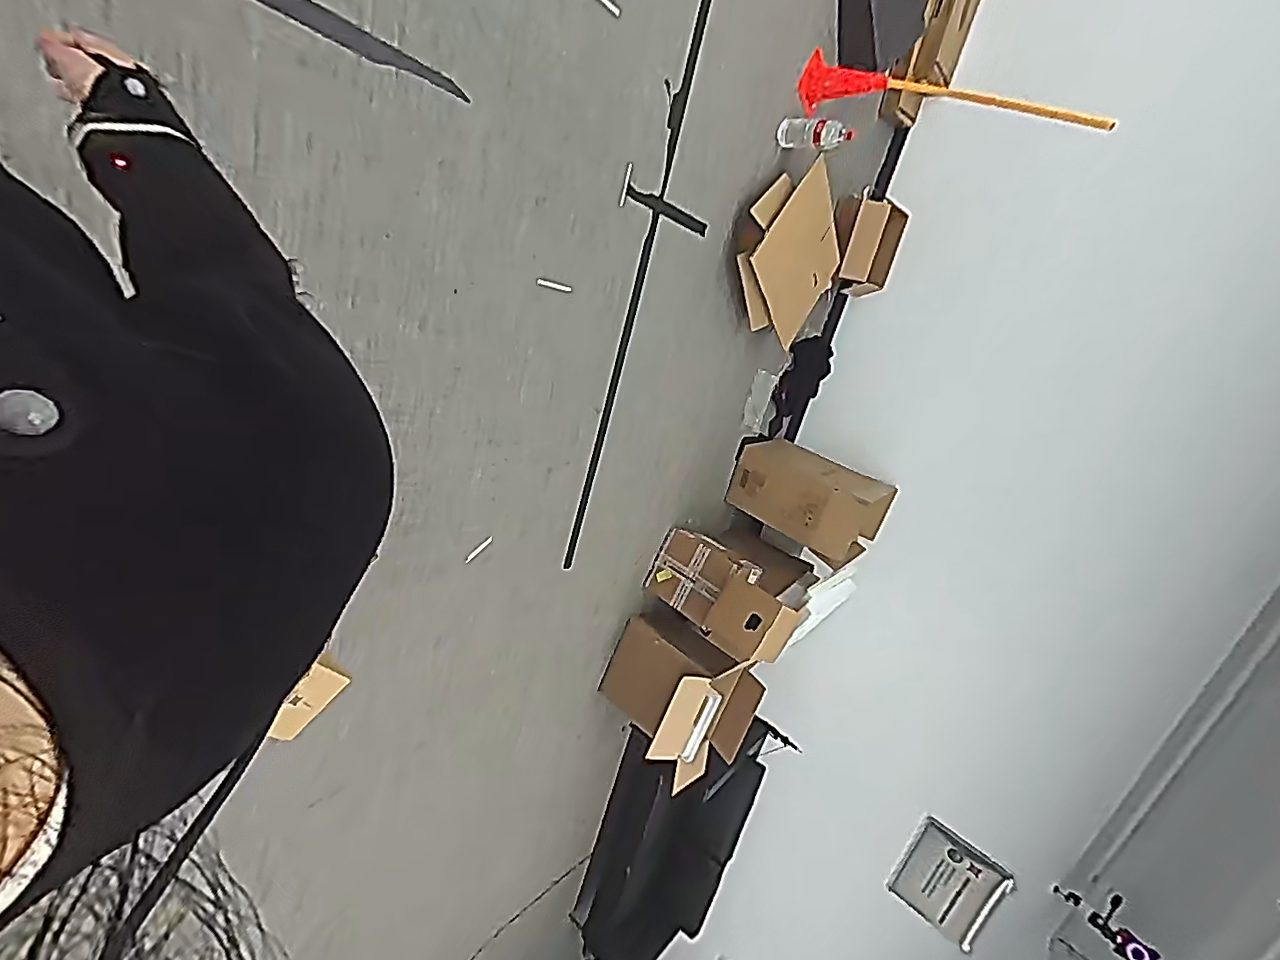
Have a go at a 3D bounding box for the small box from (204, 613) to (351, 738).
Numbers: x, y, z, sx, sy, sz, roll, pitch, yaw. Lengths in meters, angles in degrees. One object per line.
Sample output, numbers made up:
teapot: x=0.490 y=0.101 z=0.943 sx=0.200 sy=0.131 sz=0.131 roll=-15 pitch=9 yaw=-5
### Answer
small box: x=-0.778 y=0.412 z=1.160 sx=0.168 sy=0.176 sz=0.179 roll=-48 pitch=146 yaw=-21
